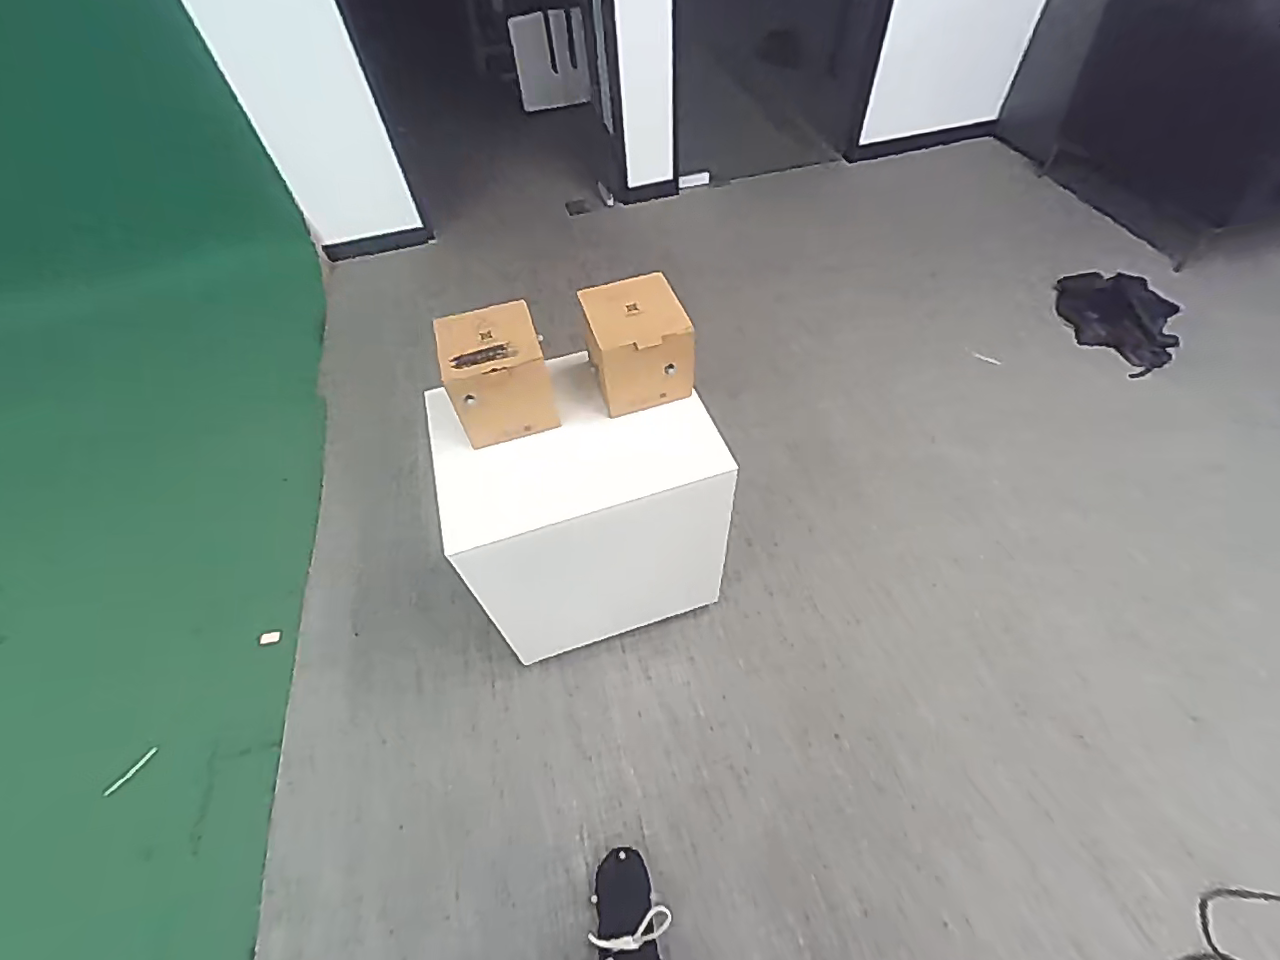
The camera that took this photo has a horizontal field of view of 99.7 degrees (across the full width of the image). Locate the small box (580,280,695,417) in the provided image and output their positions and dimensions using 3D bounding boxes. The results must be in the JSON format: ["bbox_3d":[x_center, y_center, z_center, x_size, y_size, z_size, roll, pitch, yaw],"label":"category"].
[{"bbox_3d":[-0.003,-0.237,1.007,0.168,0.176,0.179,-16,53,-9],"label":"small box"}]
